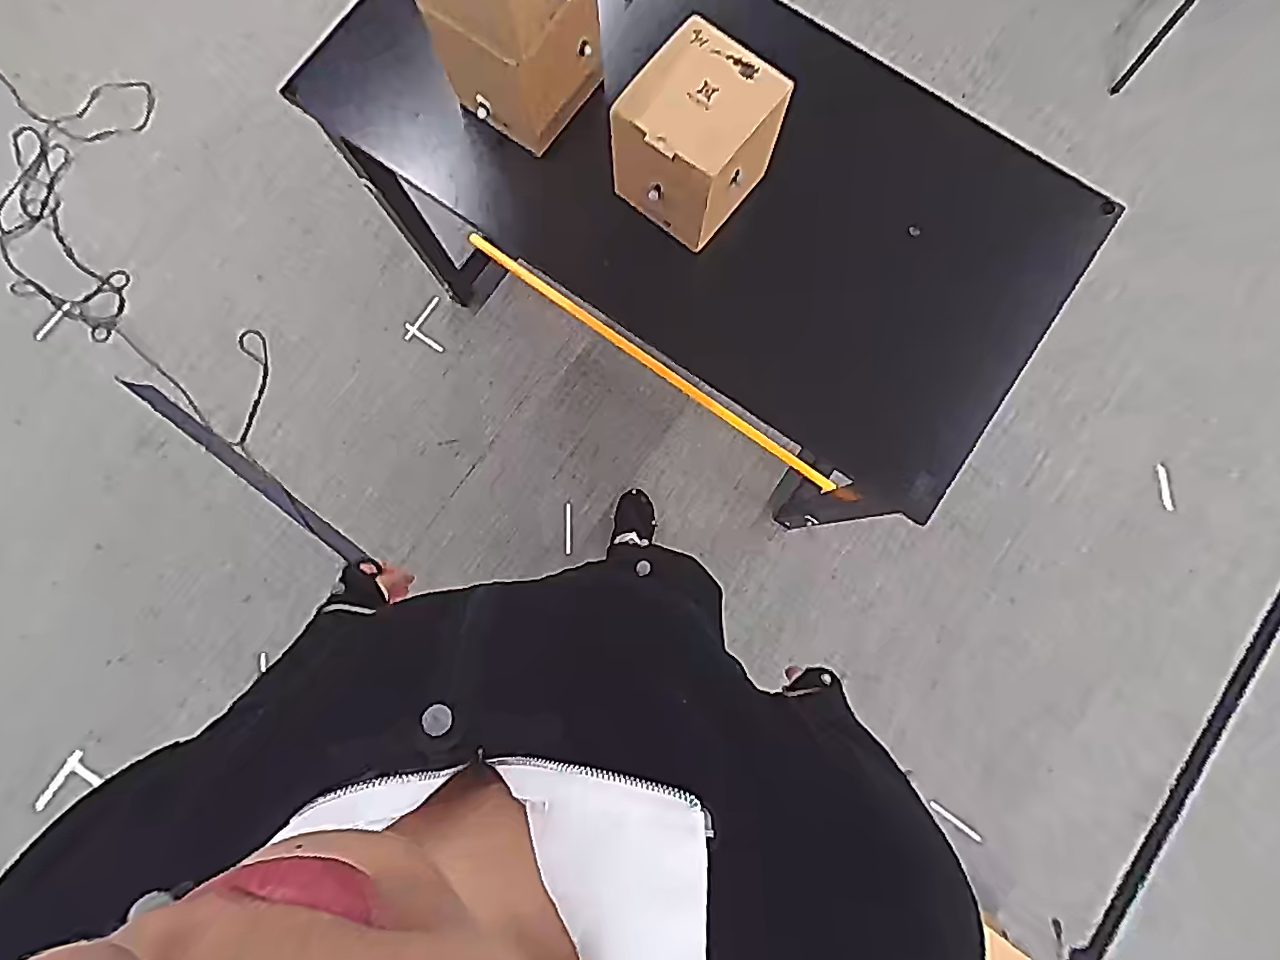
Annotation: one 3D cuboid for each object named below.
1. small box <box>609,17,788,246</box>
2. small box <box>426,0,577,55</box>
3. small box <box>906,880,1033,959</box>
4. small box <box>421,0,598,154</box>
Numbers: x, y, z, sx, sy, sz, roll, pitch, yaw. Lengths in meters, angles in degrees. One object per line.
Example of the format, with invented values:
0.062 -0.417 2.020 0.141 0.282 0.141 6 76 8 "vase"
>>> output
0.076 -0.475 0.766 0.168 0.176 0.179 38 84 4 "small box"
-0.174 -0.652 0.623 0.179 0.176 0.168 34 84 4 "small box"
0.786 1.117 1.293 0.179 0.176 0.168 36 84 5 "small box"
-0.173 -0.632 0.787 0.168 0.176 0.179 35 85 5 "small box"
